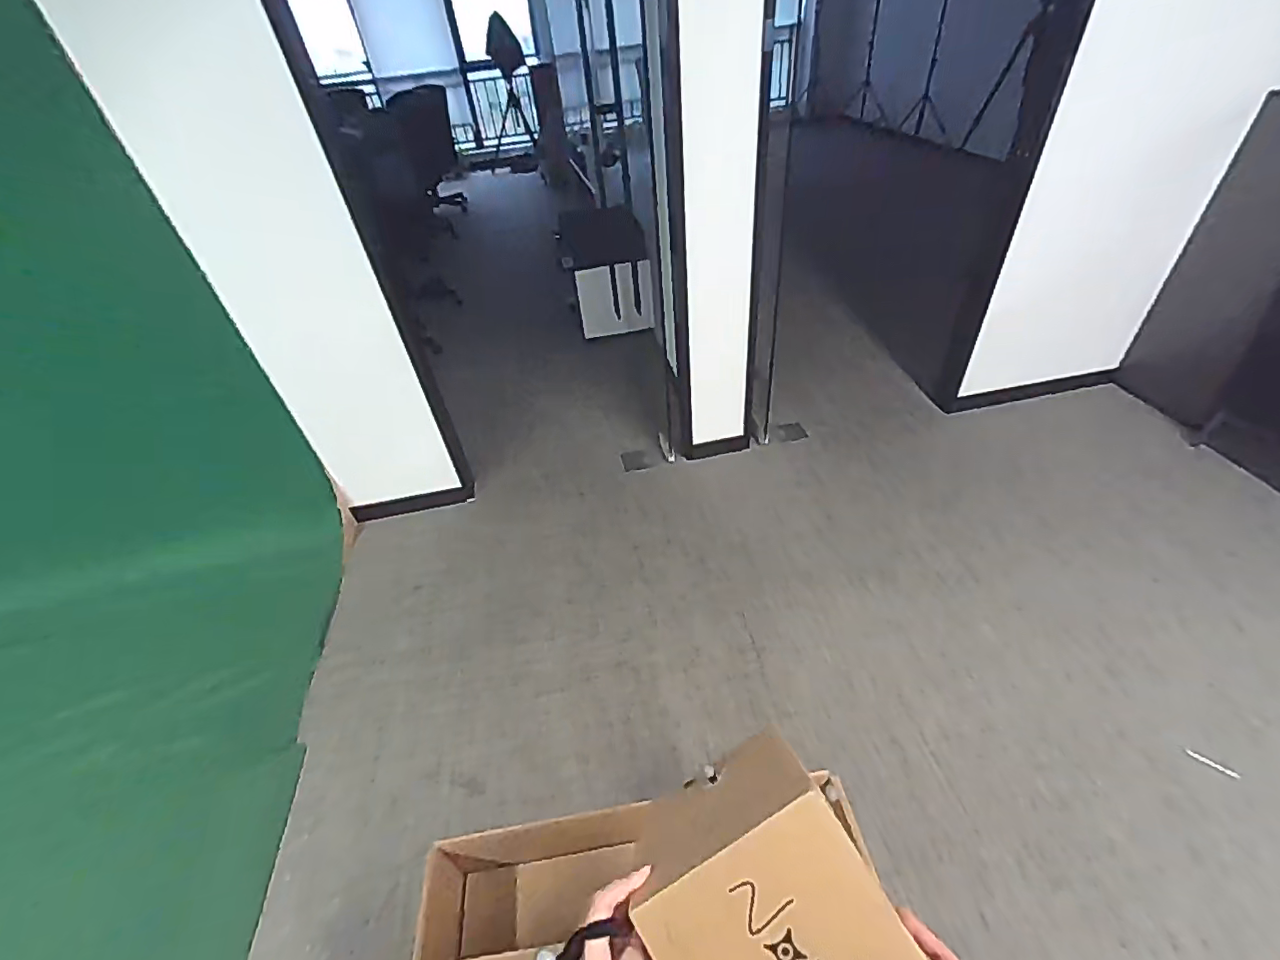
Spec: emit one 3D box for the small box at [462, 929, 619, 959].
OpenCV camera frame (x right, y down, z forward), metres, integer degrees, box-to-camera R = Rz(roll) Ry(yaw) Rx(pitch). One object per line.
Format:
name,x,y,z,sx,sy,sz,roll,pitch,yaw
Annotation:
small box,-0.117,0.687,0.668,0.179,0.176,0.168,-9,42,-1
